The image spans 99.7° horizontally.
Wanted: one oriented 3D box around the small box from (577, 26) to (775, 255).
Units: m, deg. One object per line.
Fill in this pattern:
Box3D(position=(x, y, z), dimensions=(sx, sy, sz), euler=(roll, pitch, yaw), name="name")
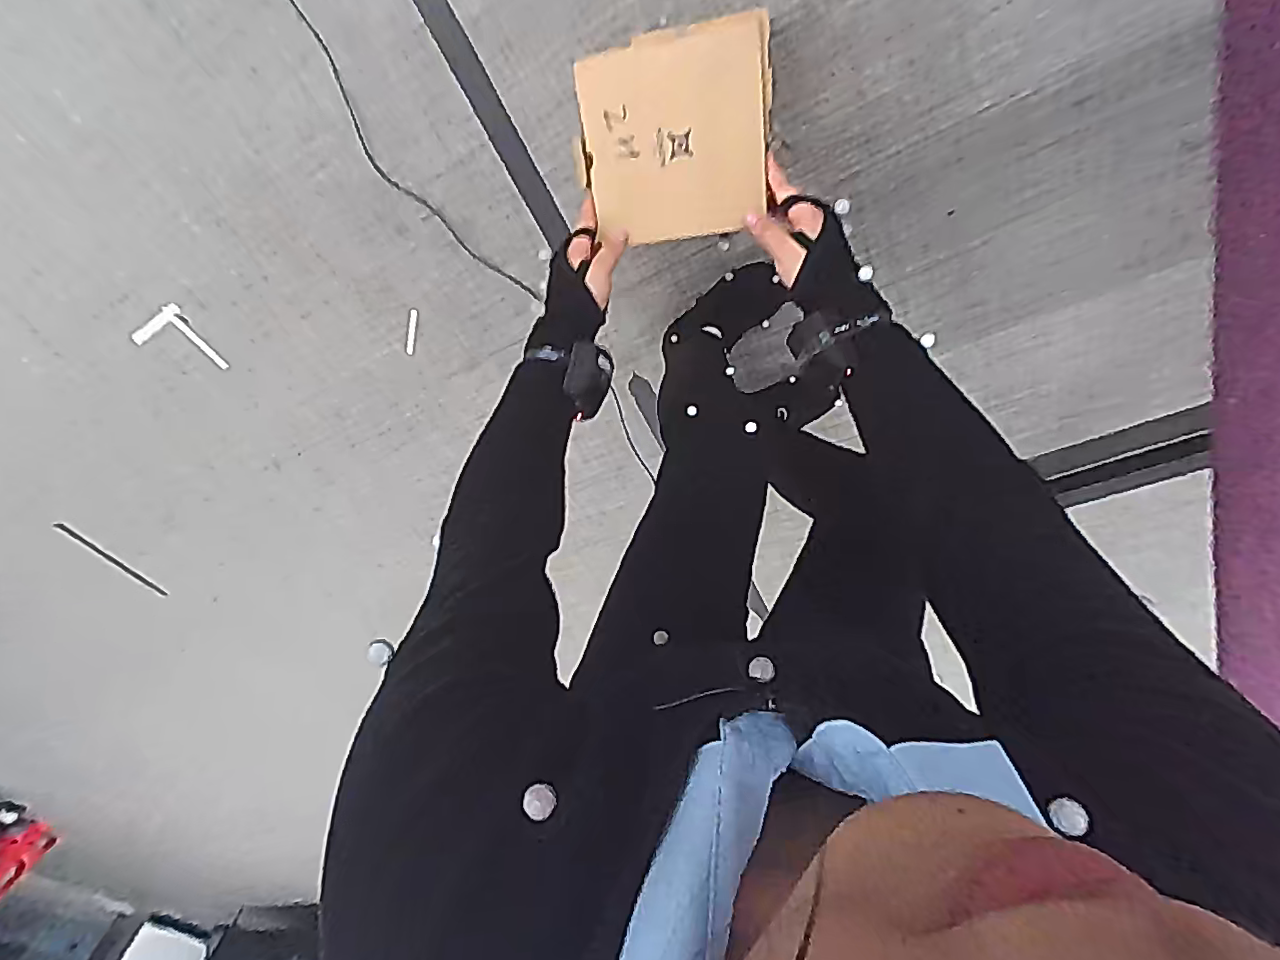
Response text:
Box3D(position=(0.051, -0.344, 0.581), dimensions=(0.179, 0.176, 0.168), euler=(-2, 113, 15), name="small box")
